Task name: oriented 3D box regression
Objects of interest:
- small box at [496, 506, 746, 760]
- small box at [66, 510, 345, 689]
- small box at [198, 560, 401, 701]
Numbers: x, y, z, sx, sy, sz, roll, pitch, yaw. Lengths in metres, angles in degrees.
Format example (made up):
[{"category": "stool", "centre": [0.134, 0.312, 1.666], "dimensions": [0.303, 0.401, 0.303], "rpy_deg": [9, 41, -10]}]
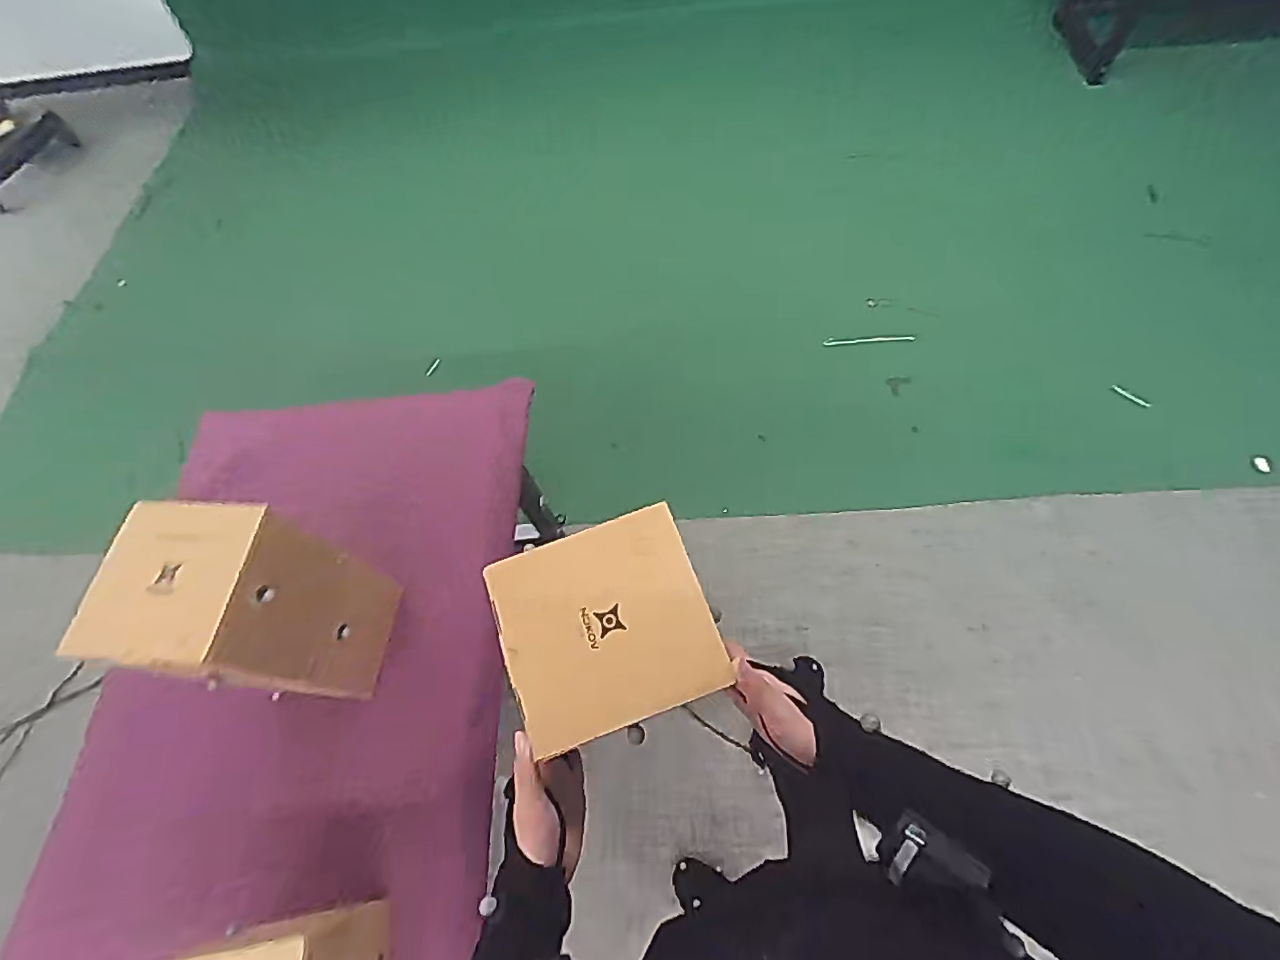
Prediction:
[{"category": "small box", "centre": [-0.015, 0.145, 0.530], "dimensions": [0.179, 0.176, 0.168], "rpy_deg": [-21, 71, -2]}, {"category": "small box", "centre": [-0.493, 0.150, 0.650], "dimensions": [0.168, 0.176, 0.179], "rpy_deg": [2, 63, 6]}, {"category": "small box", "centre": [-0.482, 0.222, 0.795], "dimensions": [0.168, 0.176, 0.179], "rpy_deg": [2, 63, 7]}]
